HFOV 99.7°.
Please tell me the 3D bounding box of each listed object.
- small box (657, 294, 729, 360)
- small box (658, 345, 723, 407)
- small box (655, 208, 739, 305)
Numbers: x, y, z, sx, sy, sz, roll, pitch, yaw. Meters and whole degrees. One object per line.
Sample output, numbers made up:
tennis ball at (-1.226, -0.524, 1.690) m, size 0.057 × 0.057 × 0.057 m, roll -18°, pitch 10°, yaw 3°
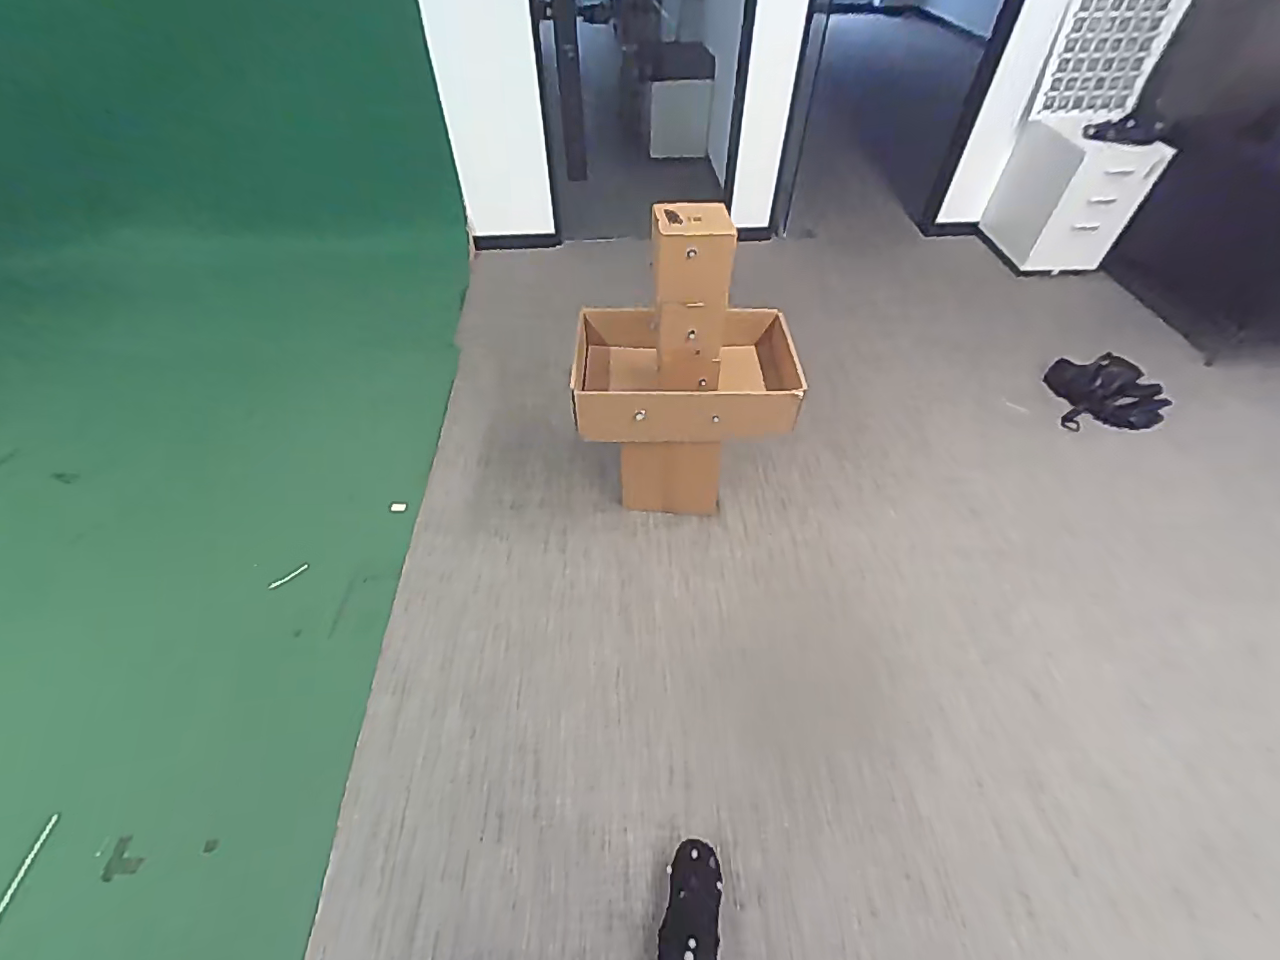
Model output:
small box at (0.134, -0.433, 1.437) m, size 0.168 × 0.176 × 0.179 m, roll -2°, pitch 50°, yaw -3°
small box at (0.139, -0.323, 1.558) m, size 0.168 × 0.176 × 0.179 m, roll -2°, pitch 47°, yaw -3°
small box at (0.129, -0.539, 1.310) m, size 0.179 × 0.176 × 0.168 m, roll -2°, pitch 49°, yaw -4°
